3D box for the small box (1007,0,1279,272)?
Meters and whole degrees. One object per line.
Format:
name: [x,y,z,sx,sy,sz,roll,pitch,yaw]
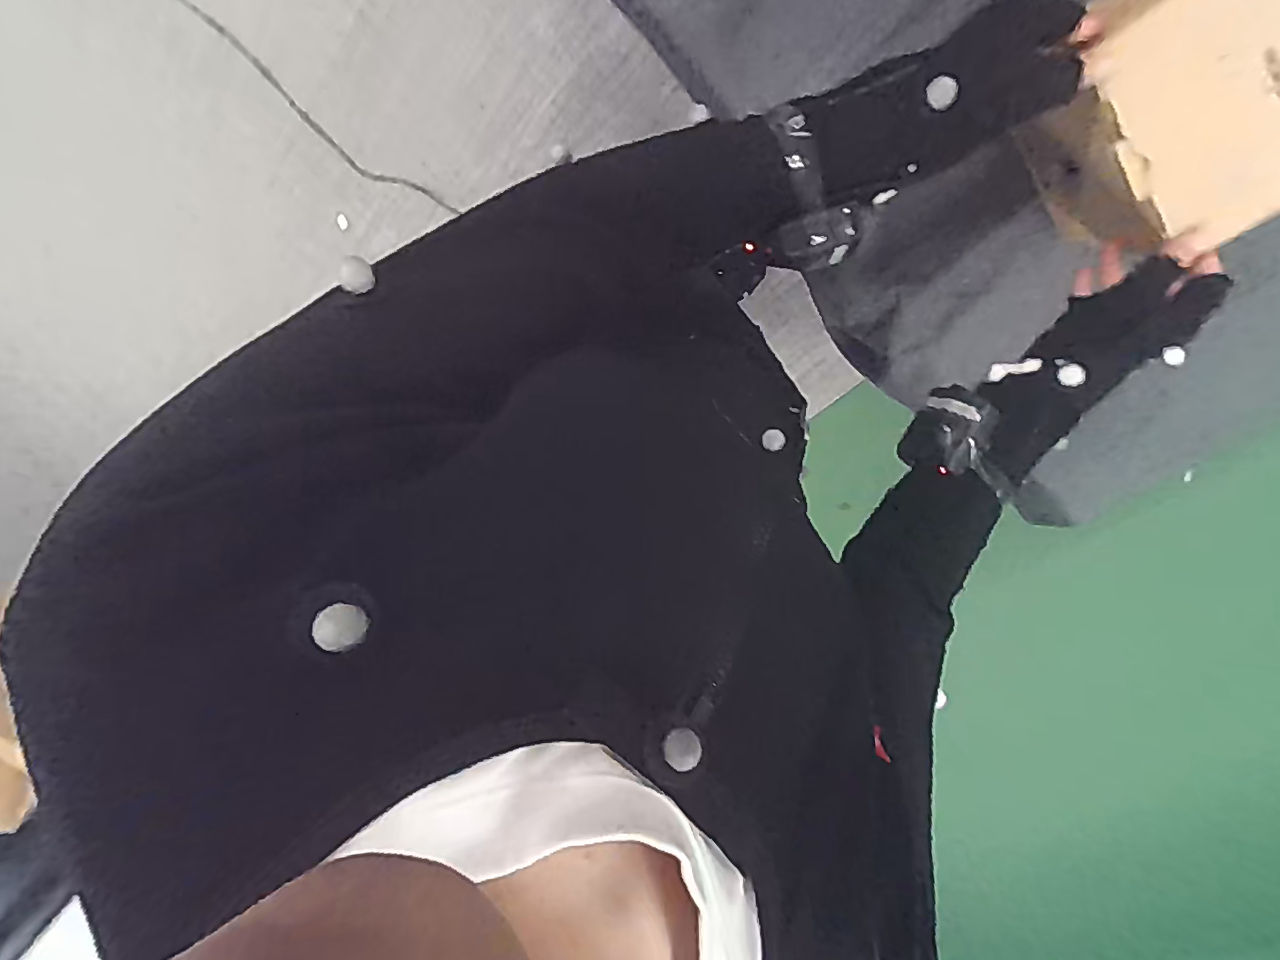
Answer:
small box: [0.410,-0.287,0.399,0.179,0.176,0.168,-33,109,26]
